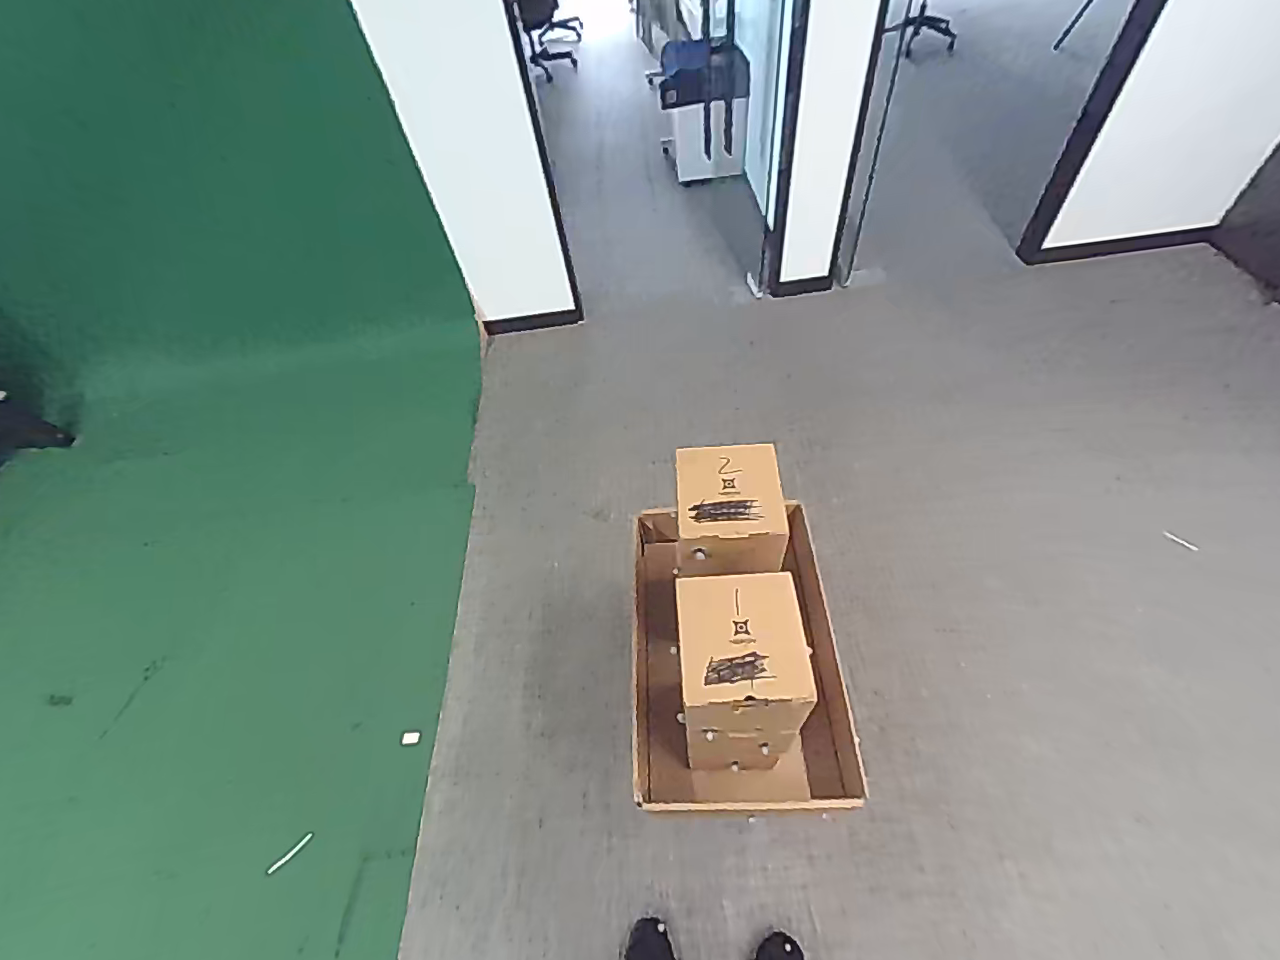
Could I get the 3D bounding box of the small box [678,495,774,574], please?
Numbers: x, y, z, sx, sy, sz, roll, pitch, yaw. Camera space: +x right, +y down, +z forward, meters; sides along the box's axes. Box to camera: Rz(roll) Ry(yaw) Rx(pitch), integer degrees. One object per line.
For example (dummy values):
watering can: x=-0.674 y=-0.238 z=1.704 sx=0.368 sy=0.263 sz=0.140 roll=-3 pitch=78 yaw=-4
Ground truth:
small box: x=0.161 y=0.149 z=1.062 sx=0.168 sy=0.176 sz=0.179 roll=-4 pitch=55 yaw=4

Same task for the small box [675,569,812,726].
small box: x=0.140 y=0.247 z=0.781 sx=0.168 sy=0.176 sz=0.179 roll=-3 pitch=52 yaw=3

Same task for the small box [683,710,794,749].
small box: x=0.157 y=0.346 z=0.910 sx=0.168 sy=0.176 sz=0.179 roll=-3 pitch=53 yaw=4
